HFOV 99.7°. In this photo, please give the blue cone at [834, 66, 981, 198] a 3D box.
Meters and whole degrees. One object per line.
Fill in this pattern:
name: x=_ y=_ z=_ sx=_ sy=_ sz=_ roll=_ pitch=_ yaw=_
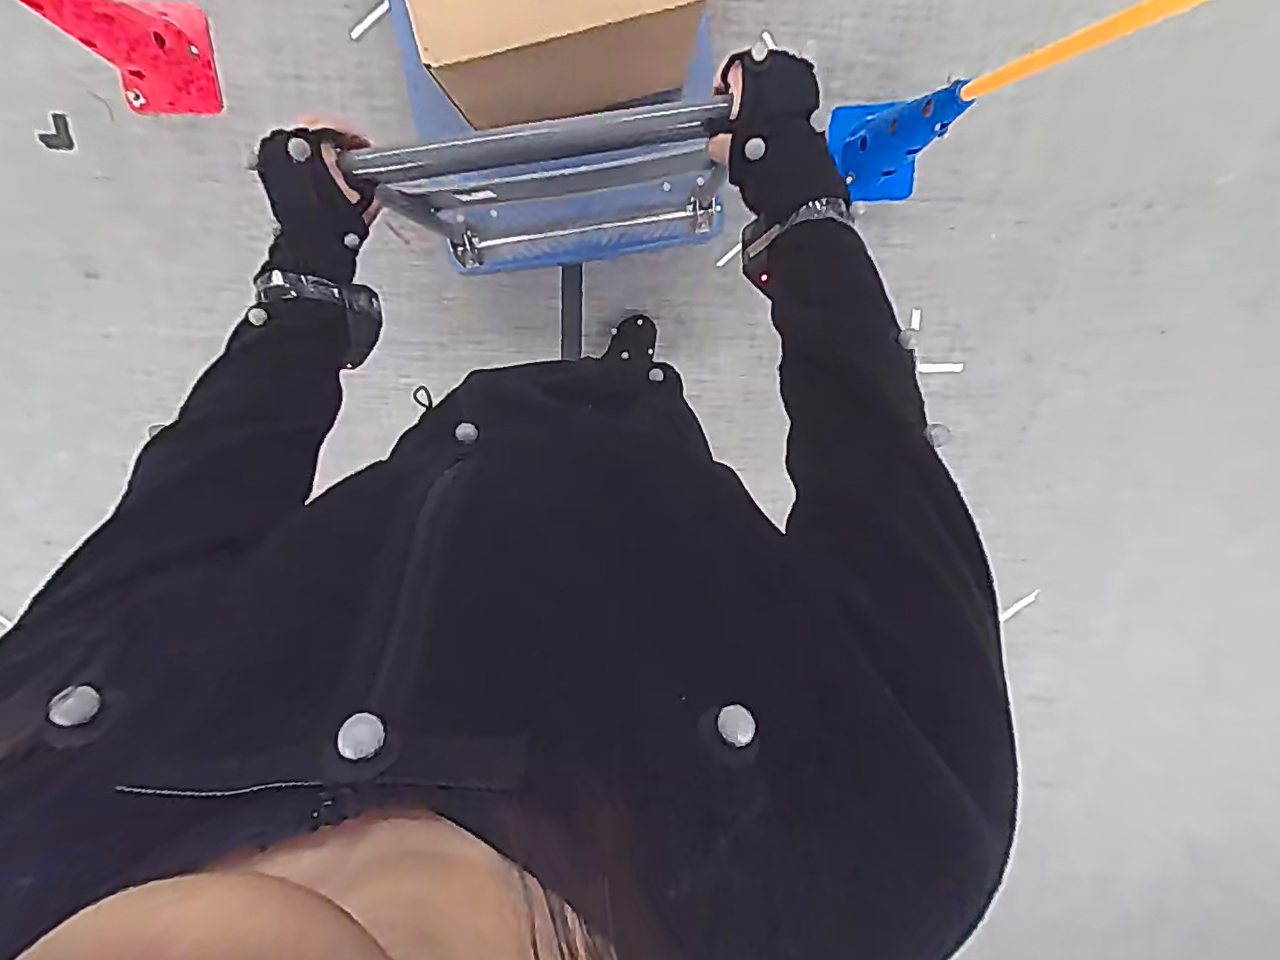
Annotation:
blue cone: x=0.540 y=-0.705 z=1.073 sx=0.193 sy=0.380 sz=0.192 roll=-3 pitch=106 yaw=-2
